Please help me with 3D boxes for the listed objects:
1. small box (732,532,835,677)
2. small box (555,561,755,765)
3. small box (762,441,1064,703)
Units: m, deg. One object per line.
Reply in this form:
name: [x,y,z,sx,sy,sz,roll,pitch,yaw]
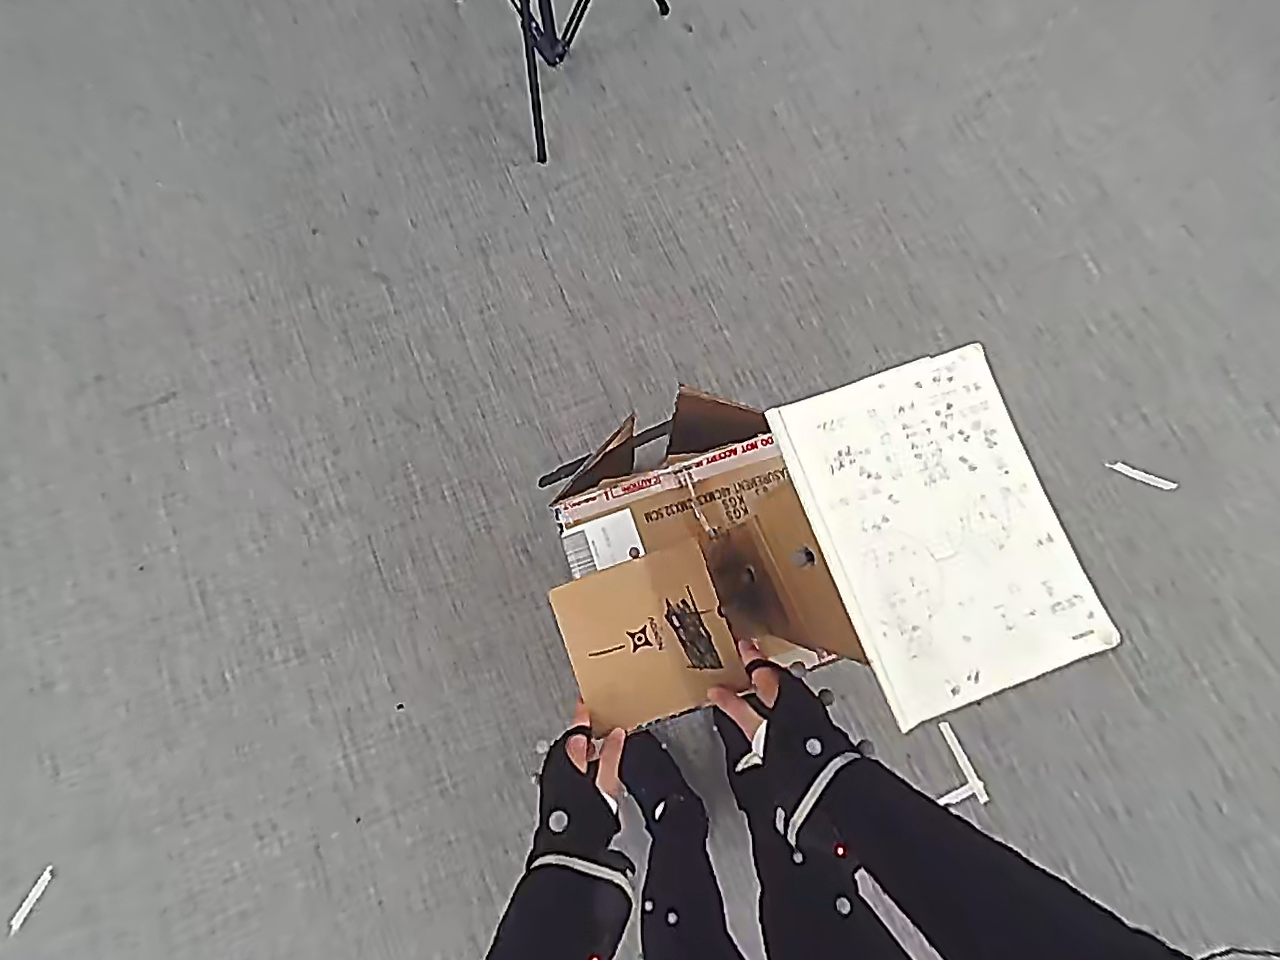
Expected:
small box: [0.239,0.122,0.684,0.179,0.176,0.168,-23,81,-6]
small box: [0.019,0.202,0.649,0.179,0.176,0.168,-20,83,3]
small box: [0.239,0.086,0.526,0.168,0.176,0.179,-21,82,-6]
